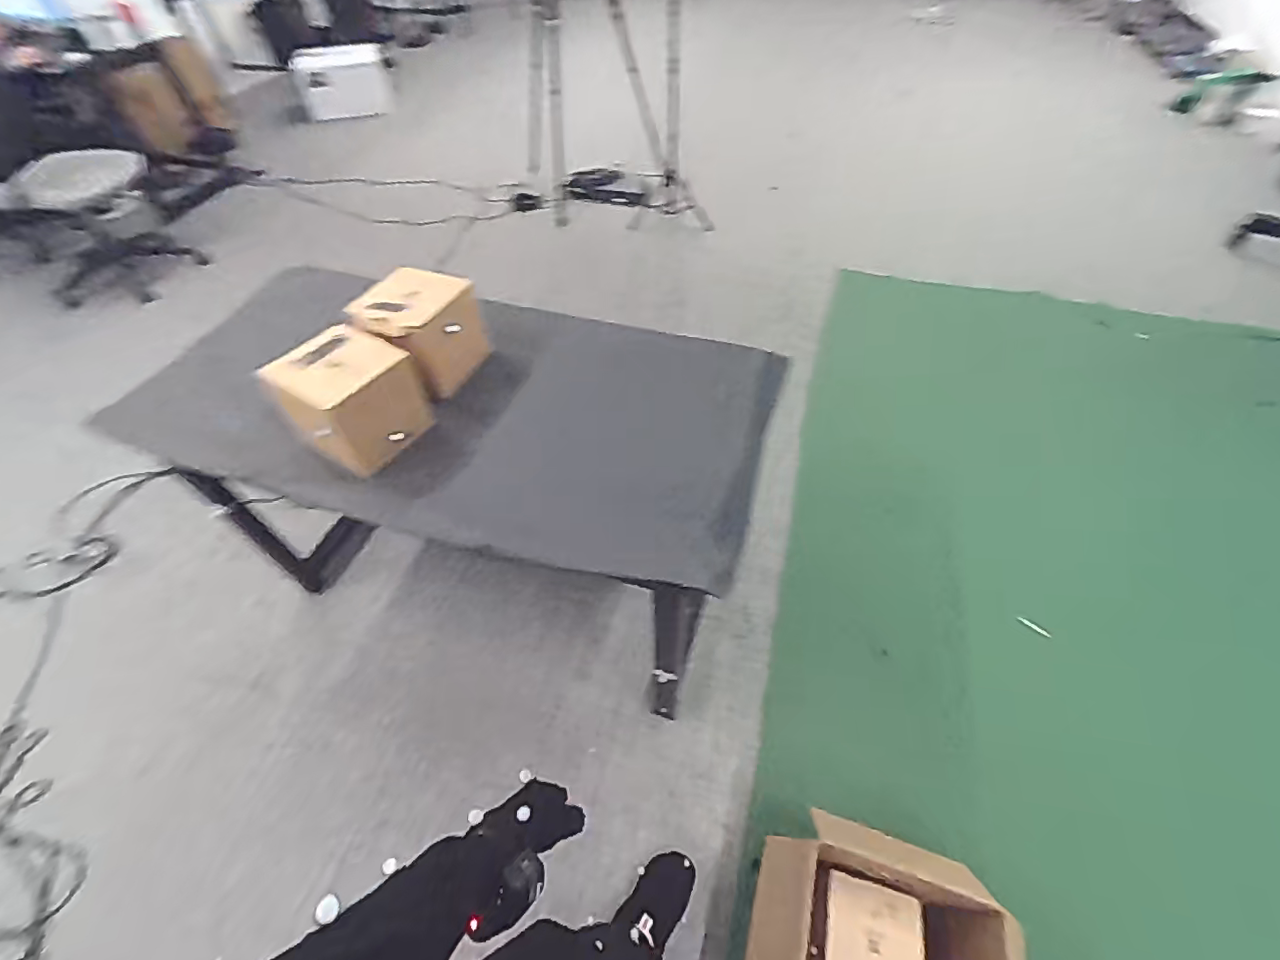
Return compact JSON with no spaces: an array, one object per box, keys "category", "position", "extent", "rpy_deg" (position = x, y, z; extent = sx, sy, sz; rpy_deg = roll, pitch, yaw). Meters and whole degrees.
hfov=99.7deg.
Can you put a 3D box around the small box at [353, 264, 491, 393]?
[{"category":"small box","position":[-0.424,-0.302,1.088],"extent":[0.168,0.176,0.179],"rpy_deg":[17,53,15]}]
